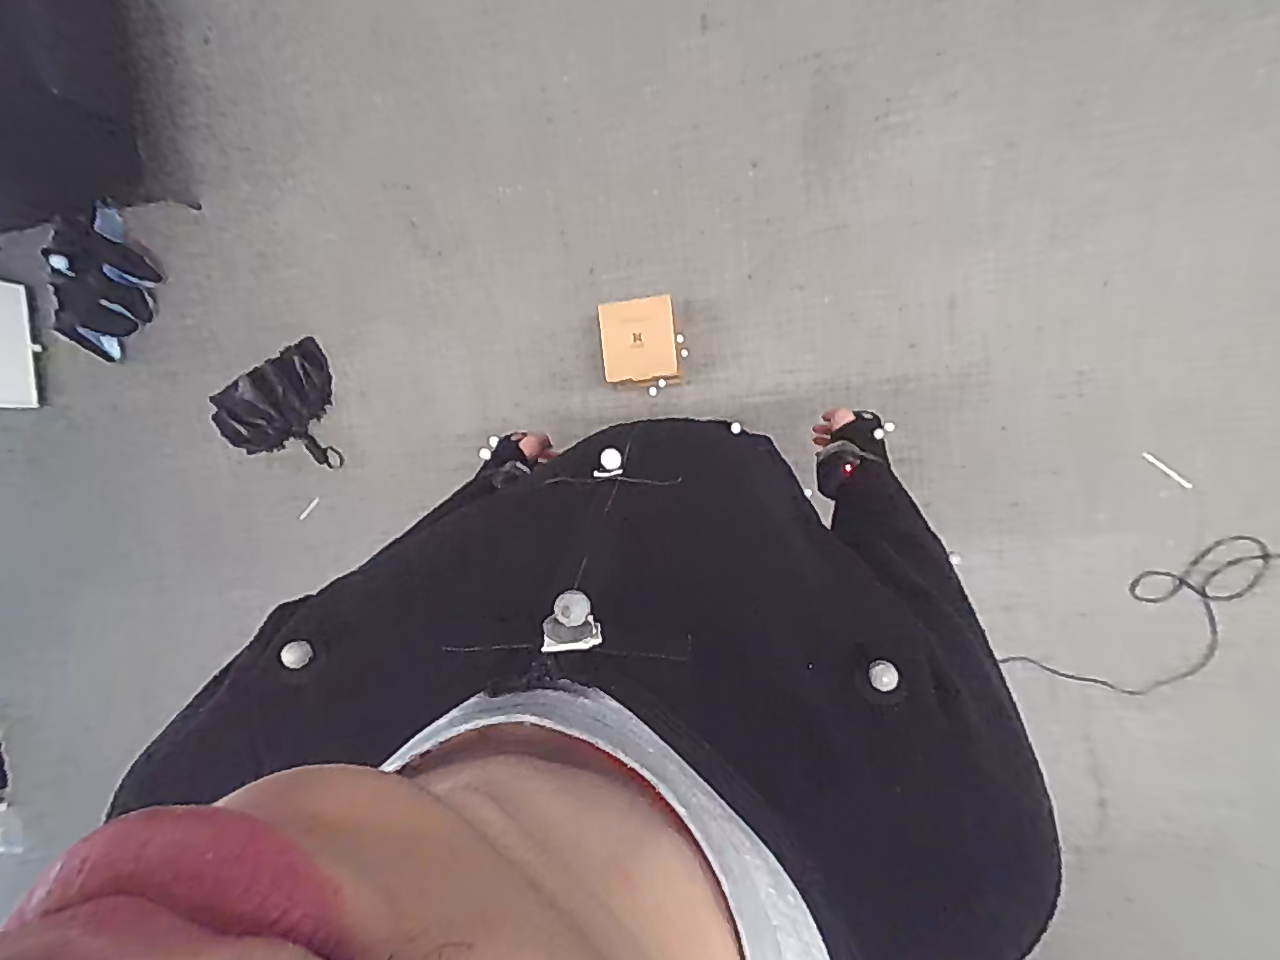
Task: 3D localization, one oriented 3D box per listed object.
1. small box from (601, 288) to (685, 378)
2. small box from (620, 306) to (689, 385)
[{"bbox_3d":[0.014,-0.336,1.273,0.168,0.176,0.179,-5,95,10],"label":"small box"},{"bbox_3d":[0.038,-0.351,1.433,0.168,0.176,0.179,-3,97,11],"label":"small box"}]
